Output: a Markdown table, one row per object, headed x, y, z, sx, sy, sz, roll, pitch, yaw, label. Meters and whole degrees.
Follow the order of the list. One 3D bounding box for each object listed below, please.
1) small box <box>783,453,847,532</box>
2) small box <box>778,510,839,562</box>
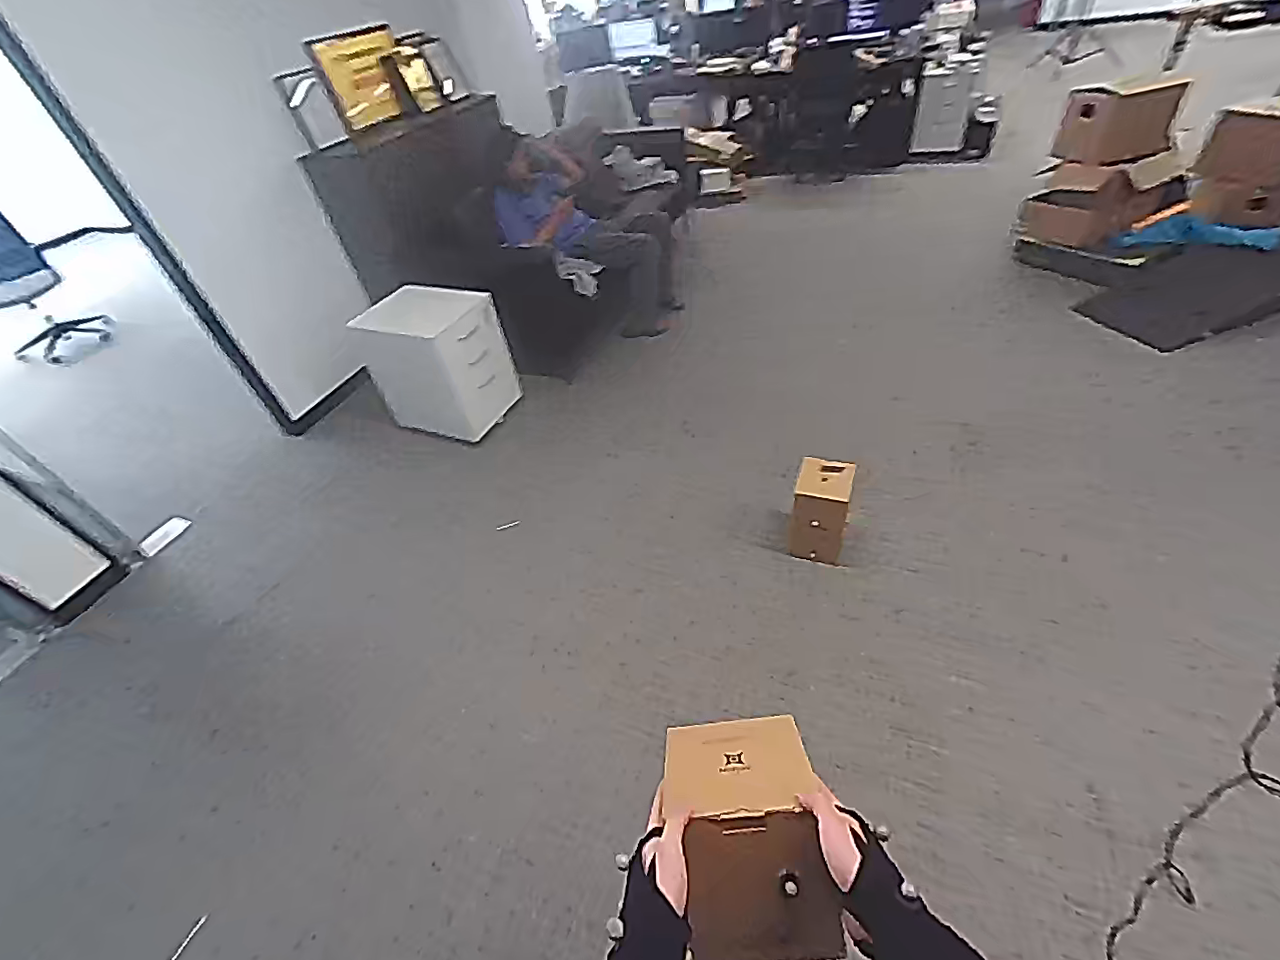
| x | y | z | sx | sy | sz | roll | pitch | yaw | label |
| --- | --- | --- | --- | --- | --- | --- | --- | --- | --- |
| 0.571 | 0.039 | 1.776 | 0.168 | 0.176 | 0.179 | 12 | 47 | 23 | small box |
| 0.594 | 0.169 | 1.908 | 0.179 | 0.176 | 0.168 | 10 | 48 | 19 | small box |
